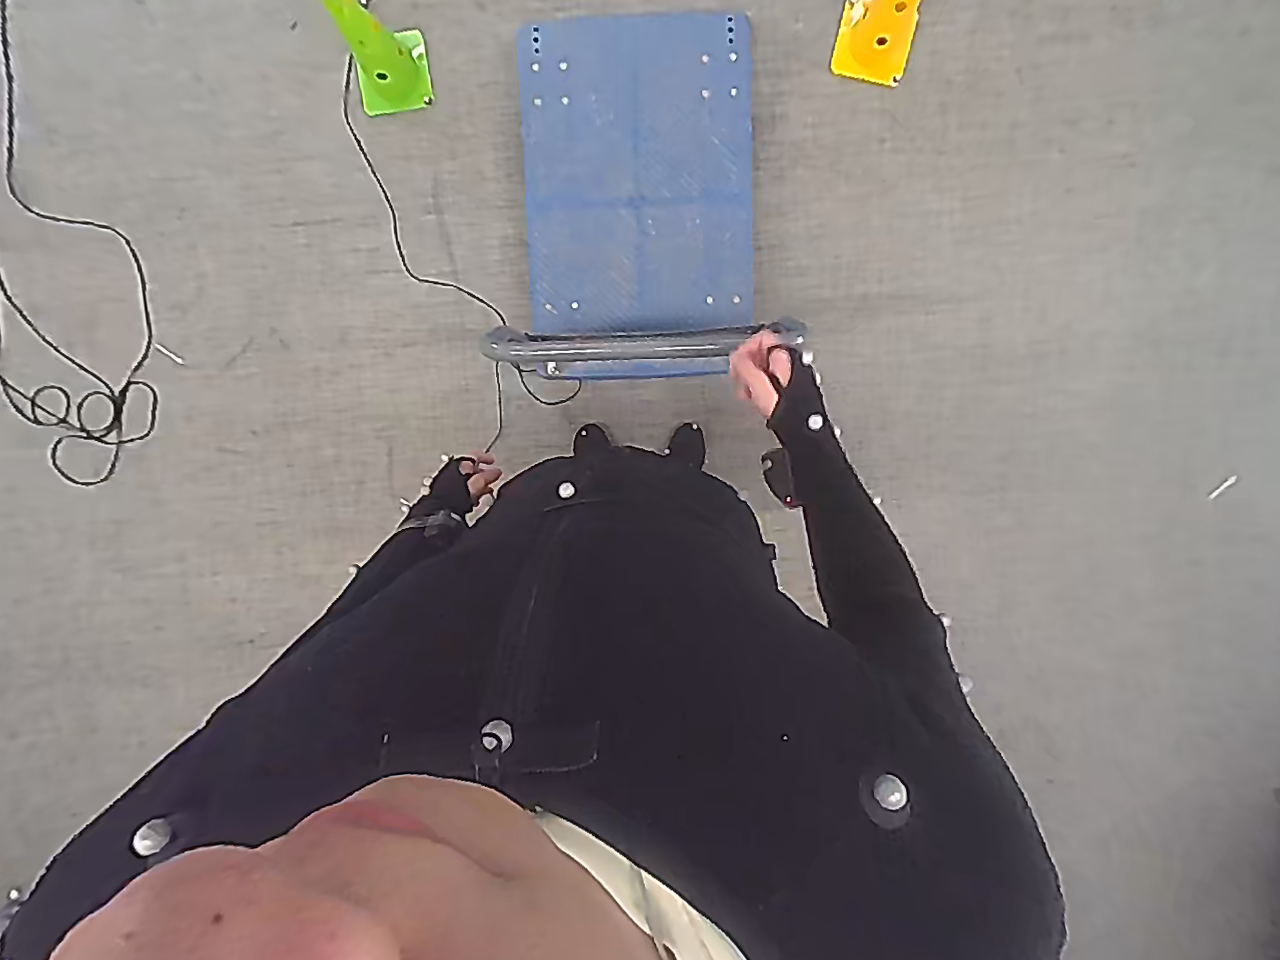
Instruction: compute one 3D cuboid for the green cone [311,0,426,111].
[{"bbox_3d":[-0.707,-1.115,1.318,0.202,0.368,0.200,-8,97,4],"label":"green cone"}]
